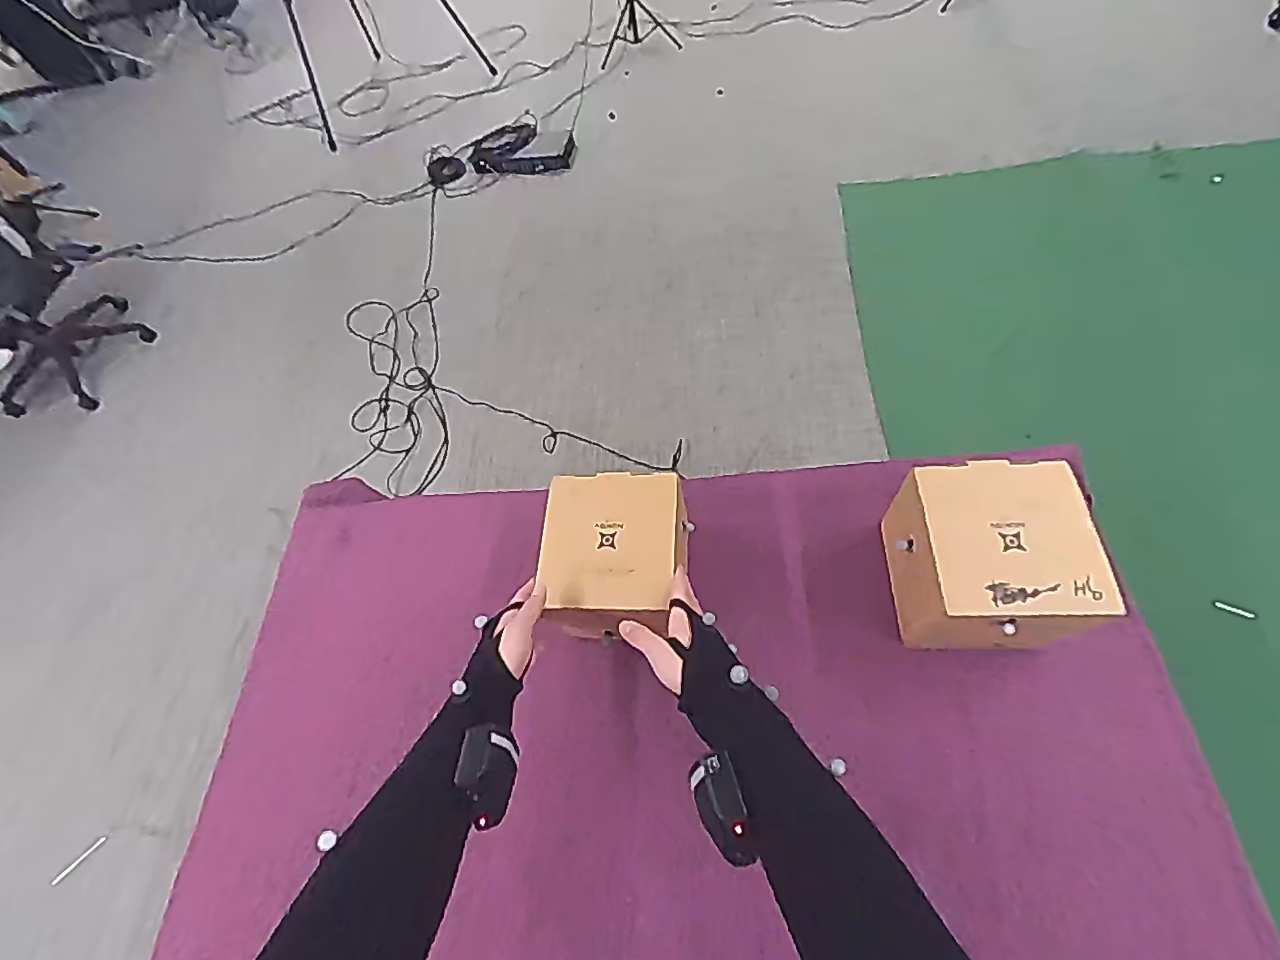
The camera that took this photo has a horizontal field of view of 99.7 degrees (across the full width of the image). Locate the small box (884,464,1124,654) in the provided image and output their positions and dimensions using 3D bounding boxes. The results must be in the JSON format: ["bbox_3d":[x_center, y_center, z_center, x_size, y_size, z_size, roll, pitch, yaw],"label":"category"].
[{"bbox_3d":[0.406,0.099,0.646,0.168,0.176,0.179,-2,61,9],"label":"small box"}]

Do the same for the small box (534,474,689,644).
[{"bbox_3d":[-0.025,0.108,0.716,0.168,0.176,0.179,-1,62,10],"label":"small box"}]
